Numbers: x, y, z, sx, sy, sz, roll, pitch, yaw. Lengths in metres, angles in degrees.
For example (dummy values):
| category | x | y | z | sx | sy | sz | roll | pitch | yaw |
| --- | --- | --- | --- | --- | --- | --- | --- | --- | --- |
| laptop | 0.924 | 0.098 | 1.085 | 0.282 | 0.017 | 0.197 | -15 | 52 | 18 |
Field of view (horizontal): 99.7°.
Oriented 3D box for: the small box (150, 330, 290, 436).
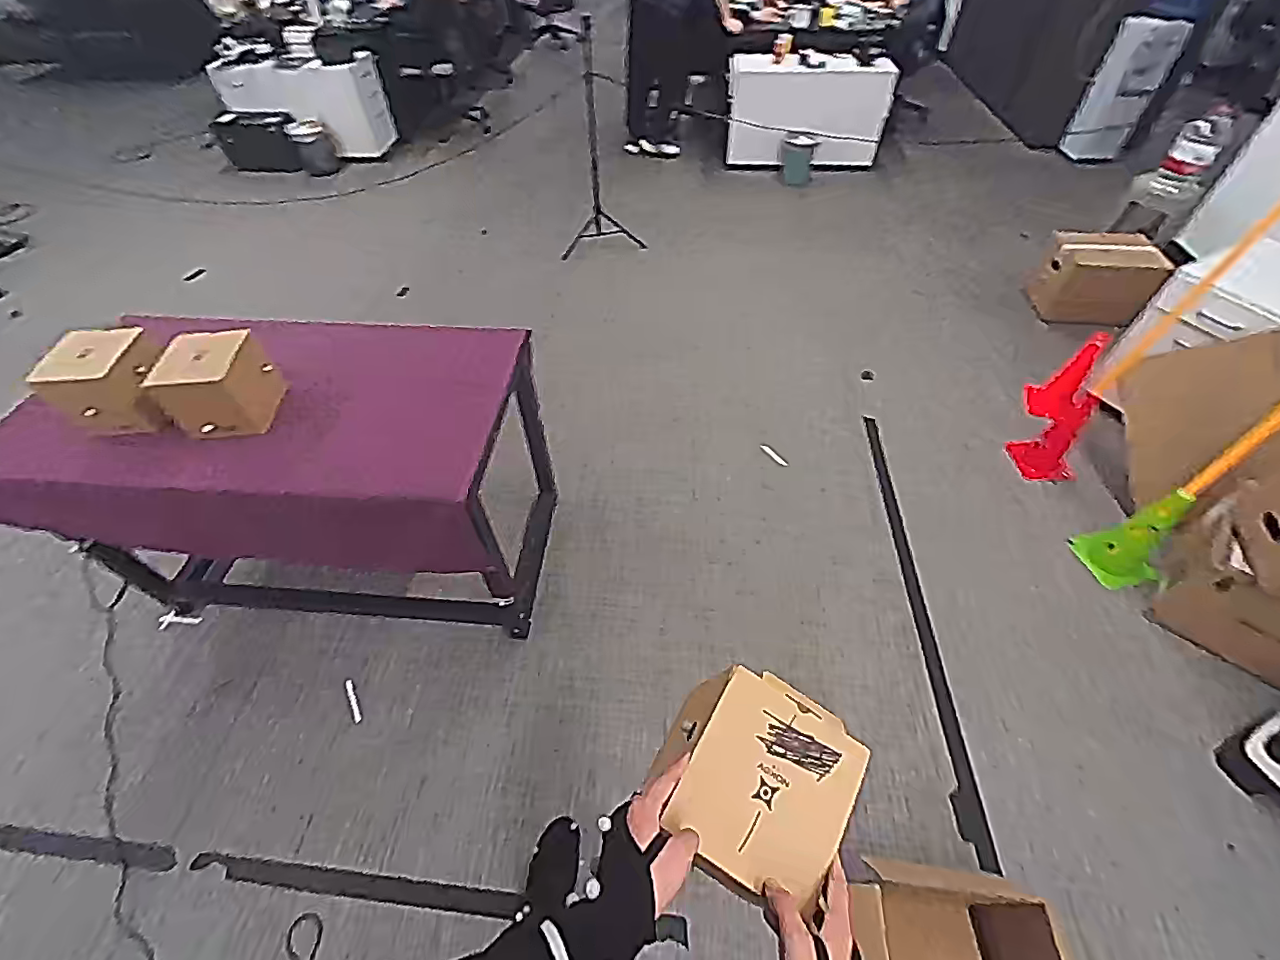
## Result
| category | x | y | z | sx | sy | sz | roll | pitch | yaw |
| --- | --- | --- | --- | --- | --- | --- | --- | --- | --- |
| small box | -0.948 | -0.223 | 1.245 | 0.168 | 0.176 | 0.179 | -4 | 51 | -2 |

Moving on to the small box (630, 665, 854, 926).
| category | x | y | z | sx | sy | sz | roll | pitch | yaw |
| --- | --- | --- | --- | --- | --- | --- | --- | --- | --- |
| small box | 0.105 | 0.344 | 0.613 | 0.168 | 0.176 | 0.179 | 32 | 59 | 6 |

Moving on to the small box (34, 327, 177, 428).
| category | x | y | z | sx | sy | sz | roll | pitch | yaw |
| --- | --- | --- | --- | --- | --- | --- | --- | --- | --- |
| small box | -1.201 | -0.233 | 1.255 | 0.168 | 0.176 | 0.179 | -3 | 50 | -2 |
